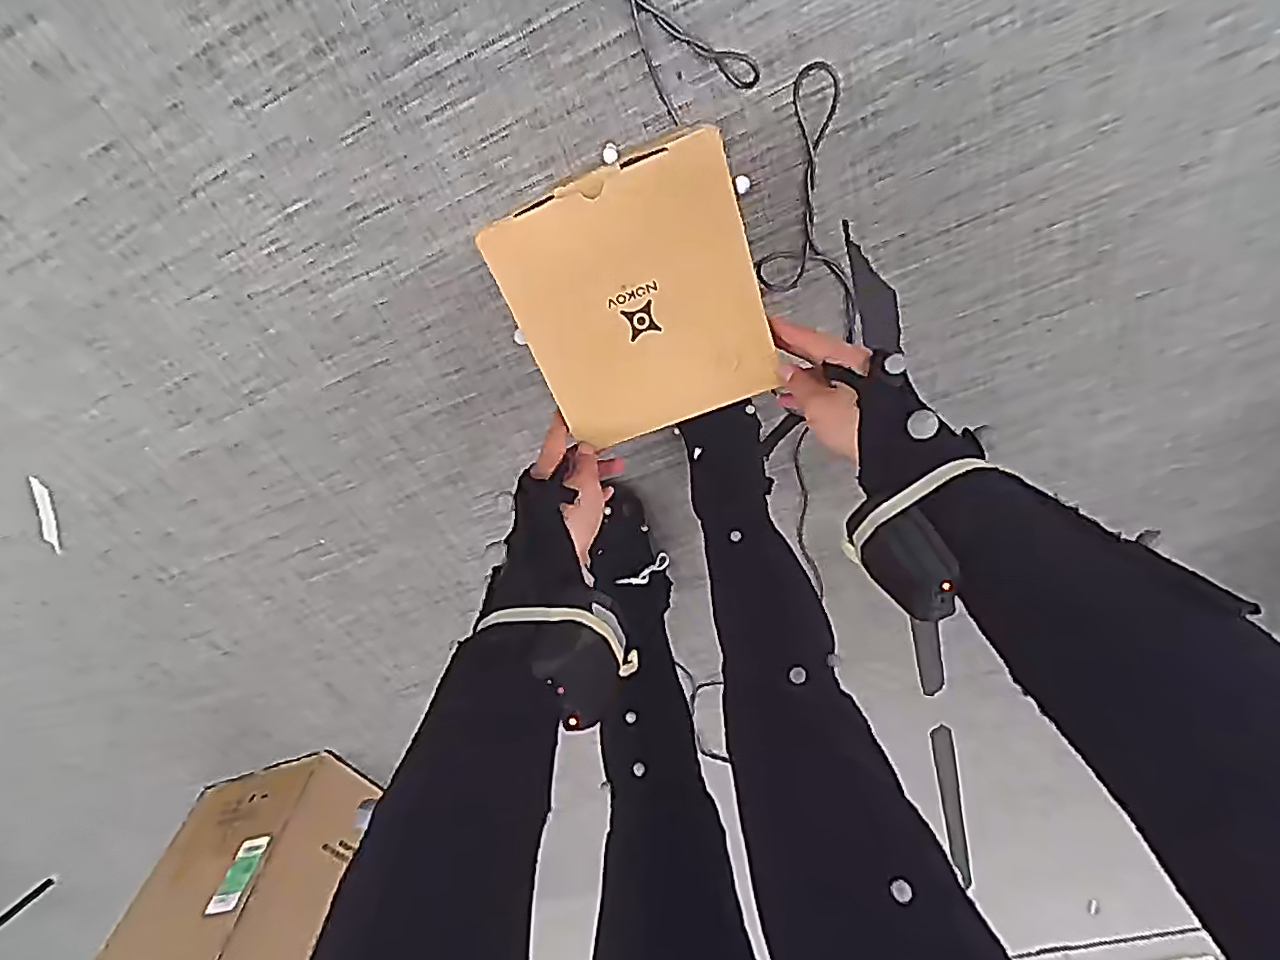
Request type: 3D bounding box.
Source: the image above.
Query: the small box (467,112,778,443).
[{"bbox_3d":[-0.003,-0.162,0.433,0.168,0.176,0.179,-19,119,11],"label":"small box"}]
